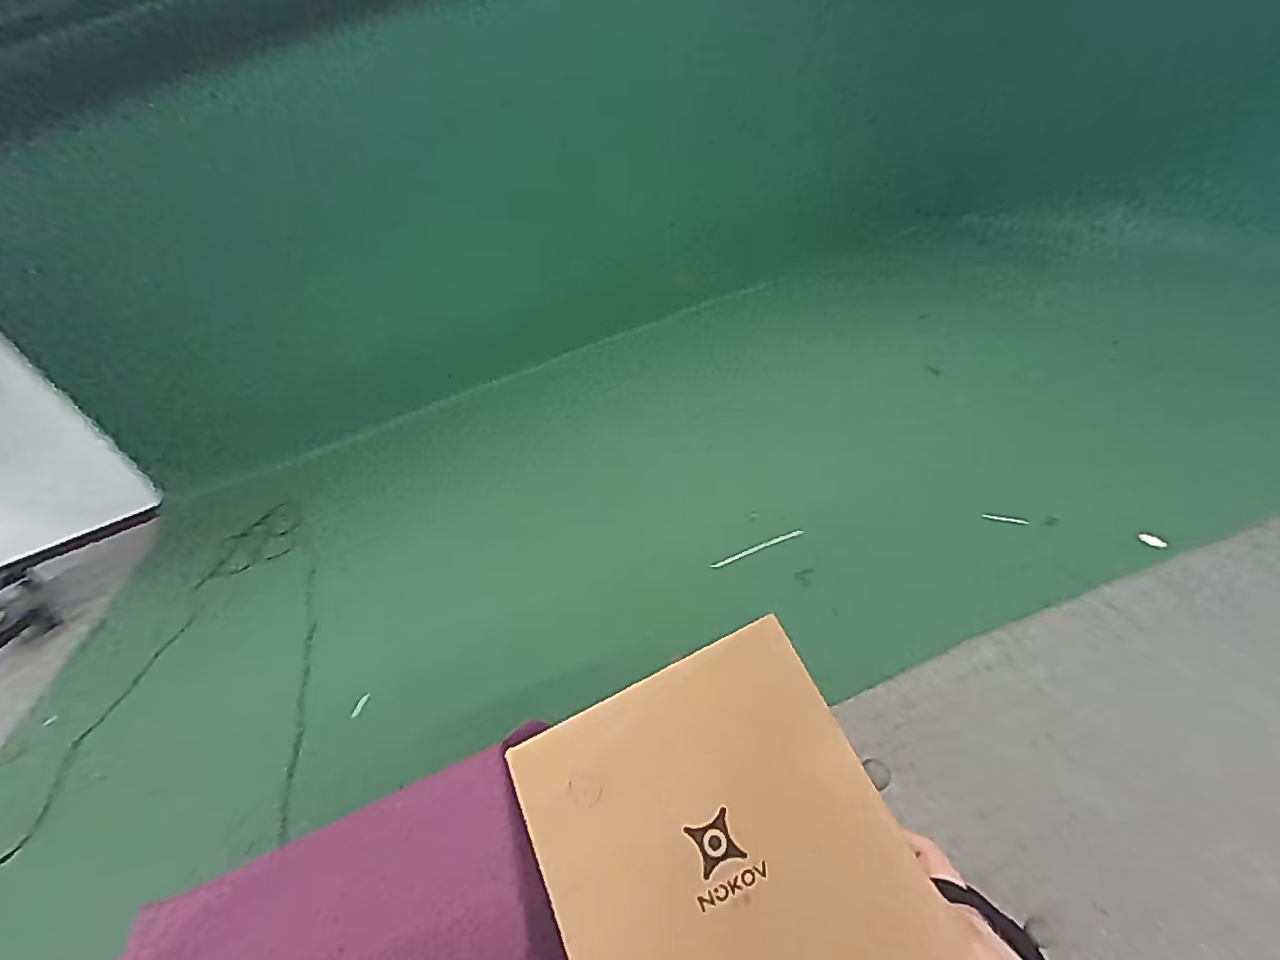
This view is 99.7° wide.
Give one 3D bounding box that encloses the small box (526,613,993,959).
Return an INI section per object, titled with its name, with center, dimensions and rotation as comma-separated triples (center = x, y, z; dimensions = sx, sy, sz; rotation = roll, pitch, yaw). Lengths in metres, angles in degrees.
[small box]
center = 0.054, 0.210, 0.330
dimensions = 0.168, 0.176, 0.179
rotation = -26, 64, -4
